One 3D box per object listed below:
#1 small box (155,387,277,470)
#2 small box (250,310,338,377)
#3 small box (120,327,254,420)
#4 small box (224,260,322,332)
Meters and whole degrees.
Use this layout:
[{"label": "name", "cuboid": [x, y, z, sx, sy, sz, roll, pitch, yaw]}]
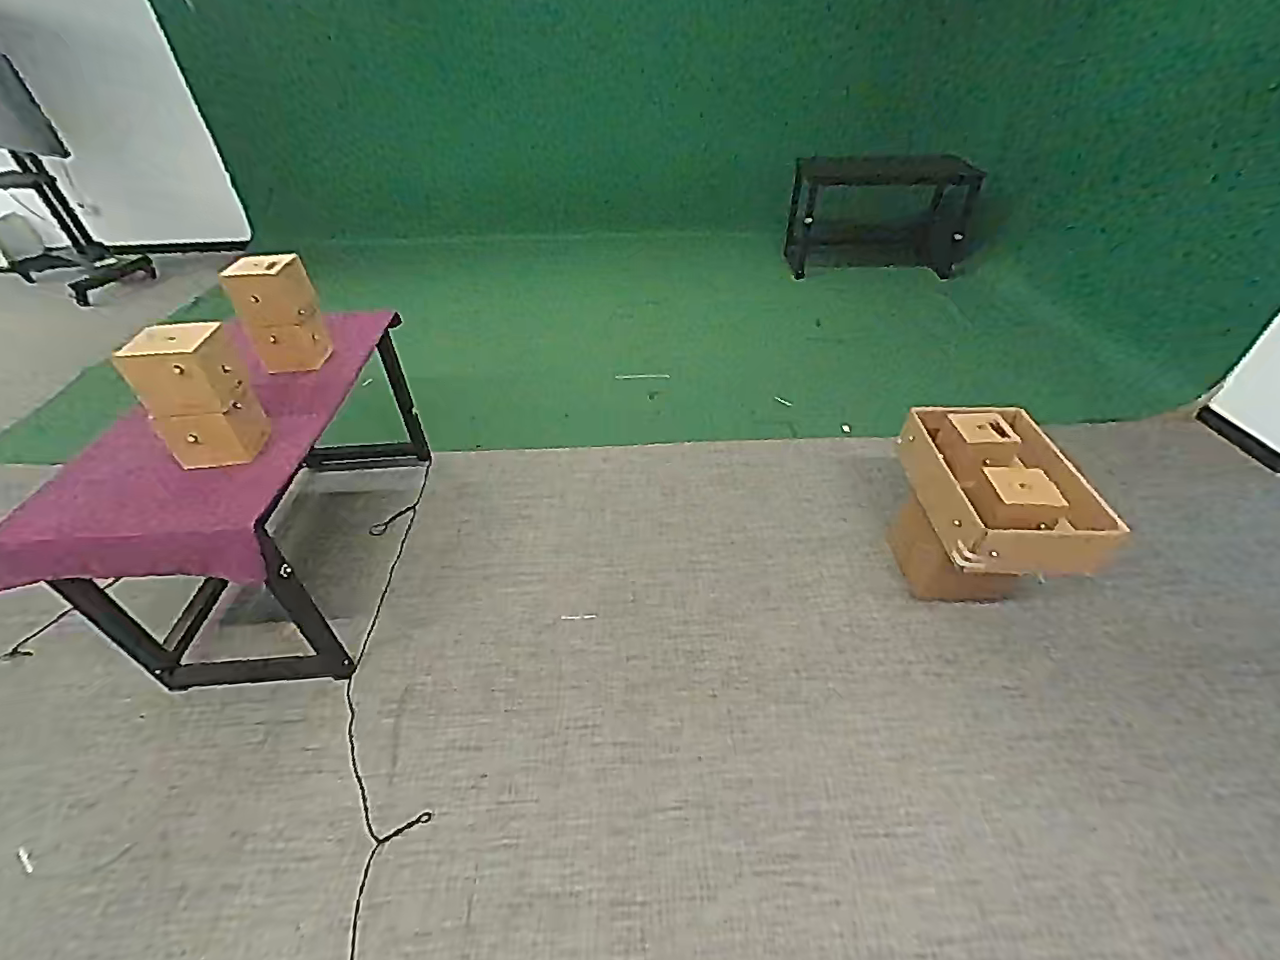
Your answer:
[{"label": "small box", "cuboid": [-1.143, -0.142, 1.475, 0.179, 0.176, 0.168, -7, 42, -6]}, {"label": "small box", "cuboid": [-1.171, -0.468, 1.850, 0.179, 0.176, 0.168, -5, 42, -2]}, {"label": "small box", "cuboid": [-1.128, -0.269, 1.368, 0.179, 0.176, 0.168, -6, 40, -5]}, {"label": "small box", "cuboid": [-1.167, -0.592, 1.740, 0.179, 0.176, 0.168, -3, 41, 1]}]
